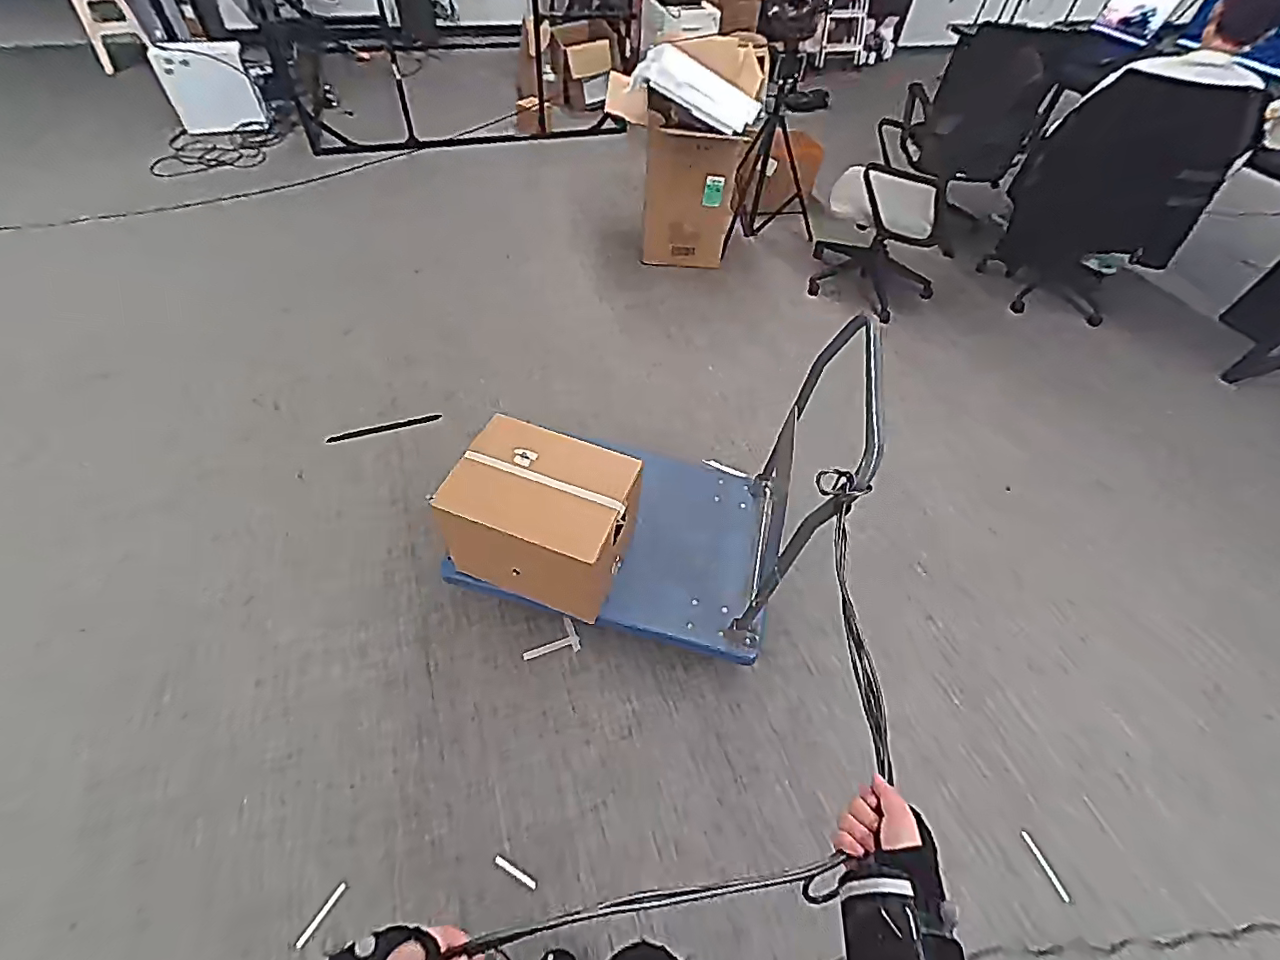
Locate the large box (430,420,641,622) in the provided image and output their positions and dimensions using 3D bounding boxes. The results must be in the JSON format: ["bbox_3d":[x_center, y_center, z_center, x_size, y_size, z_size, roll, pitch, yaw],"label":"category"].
[{"bbox_3d":[-0.238,0.106,1.367,0.408,0.320,0.320,18,52,10],"label":"large box"}]
